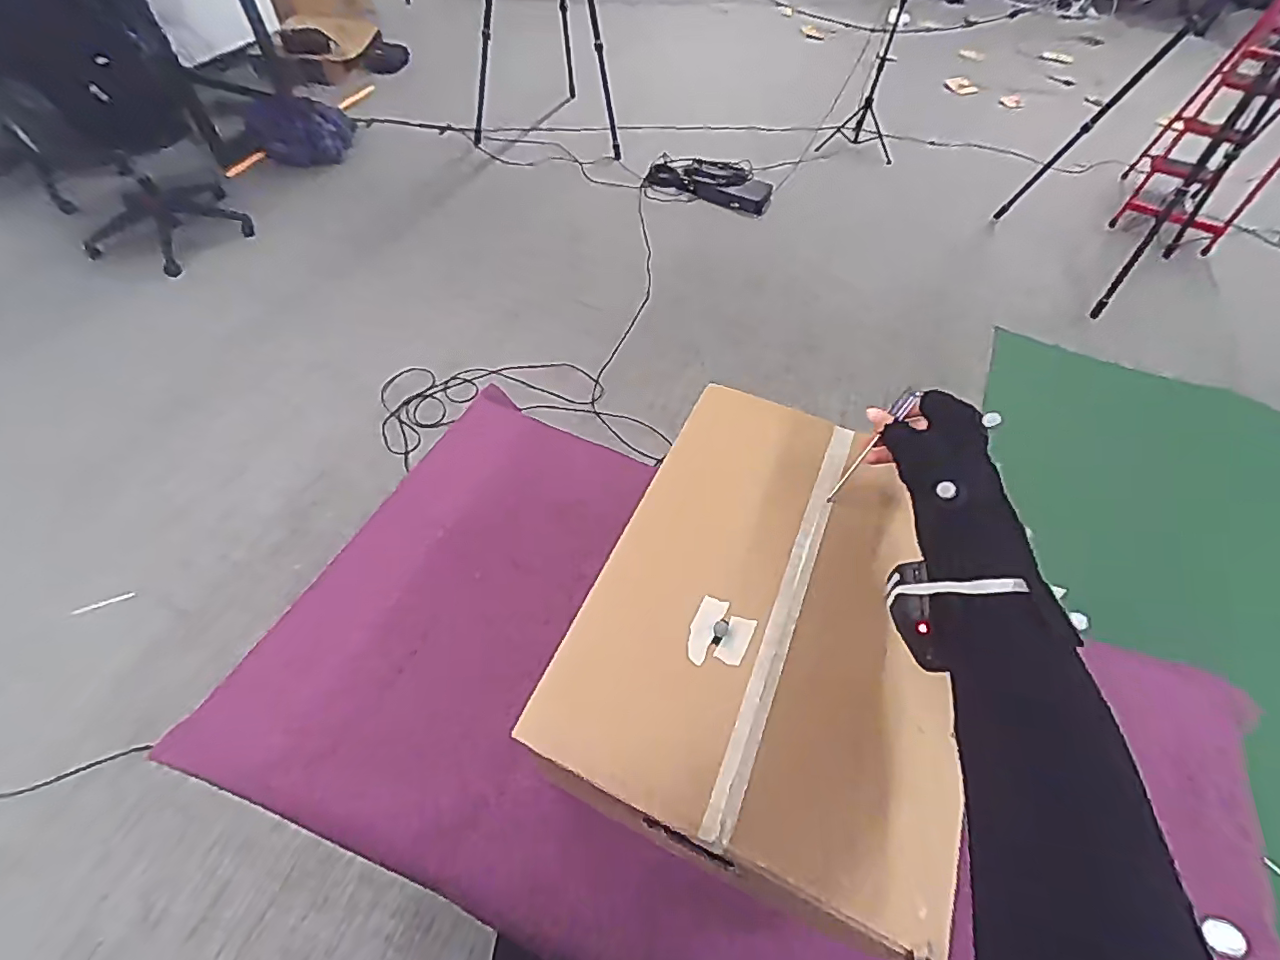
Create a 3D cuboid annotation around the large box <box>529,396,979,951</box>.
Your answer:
[{"bbox_3d":[0.123,0.187,0.609,0.320,0.320,0.408,23,58,12],"label":"large box"}]
